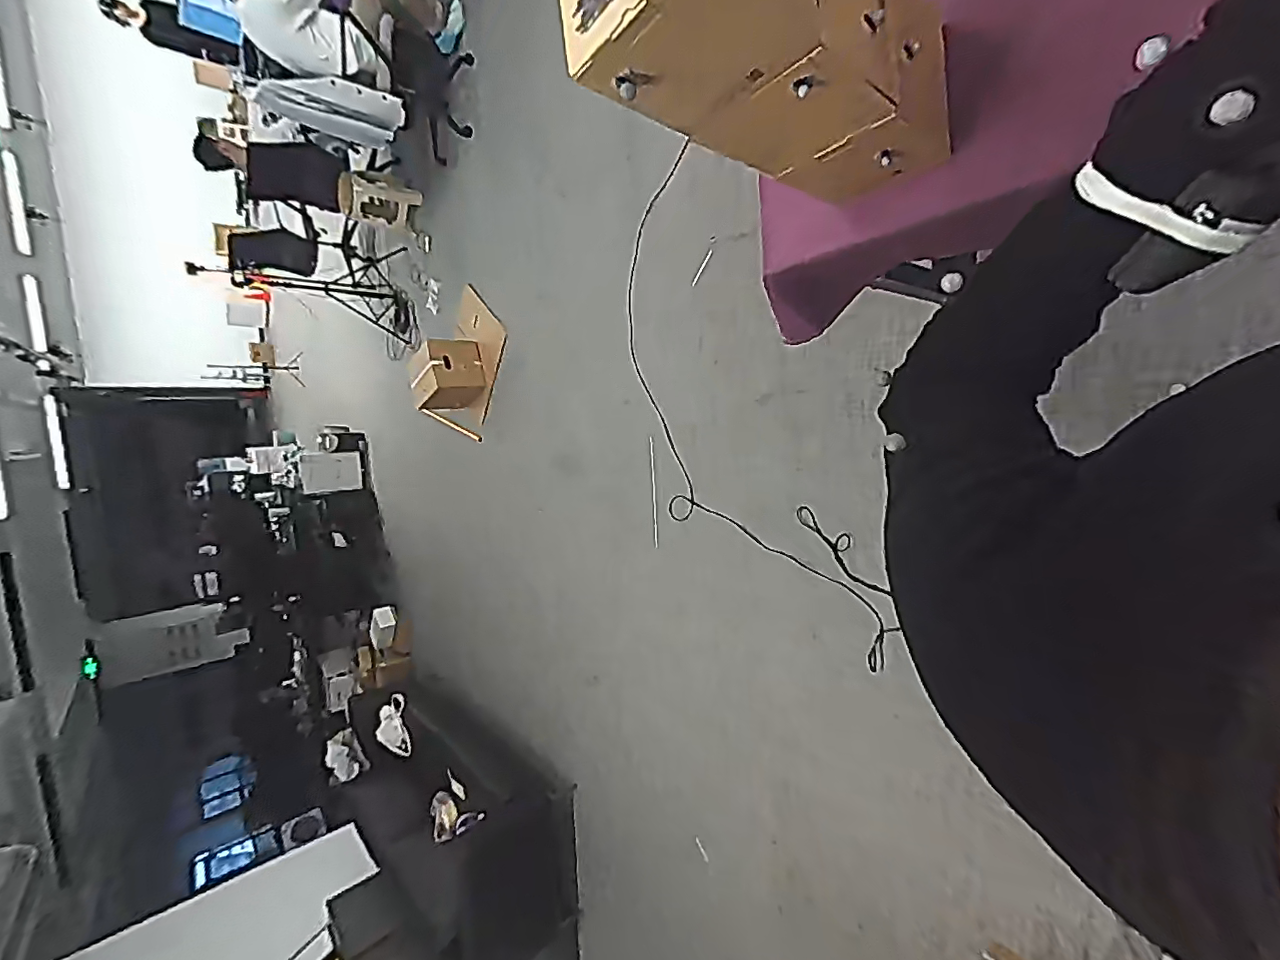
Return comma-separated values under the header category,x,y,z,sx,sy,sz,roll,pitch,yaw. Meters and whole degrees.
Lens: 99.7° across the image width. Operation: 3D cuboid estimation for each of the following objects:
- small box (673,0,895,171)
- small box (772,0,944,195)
category,x,y,z,sx,sy,sz,roll,pitch,yaw
small box,0.162,-0.487,0.613,0.179,0.176,0.168,-4,93,47
small box,0.286,-0.503,0.717,0.168,0.176,0.179,-1,95,48
